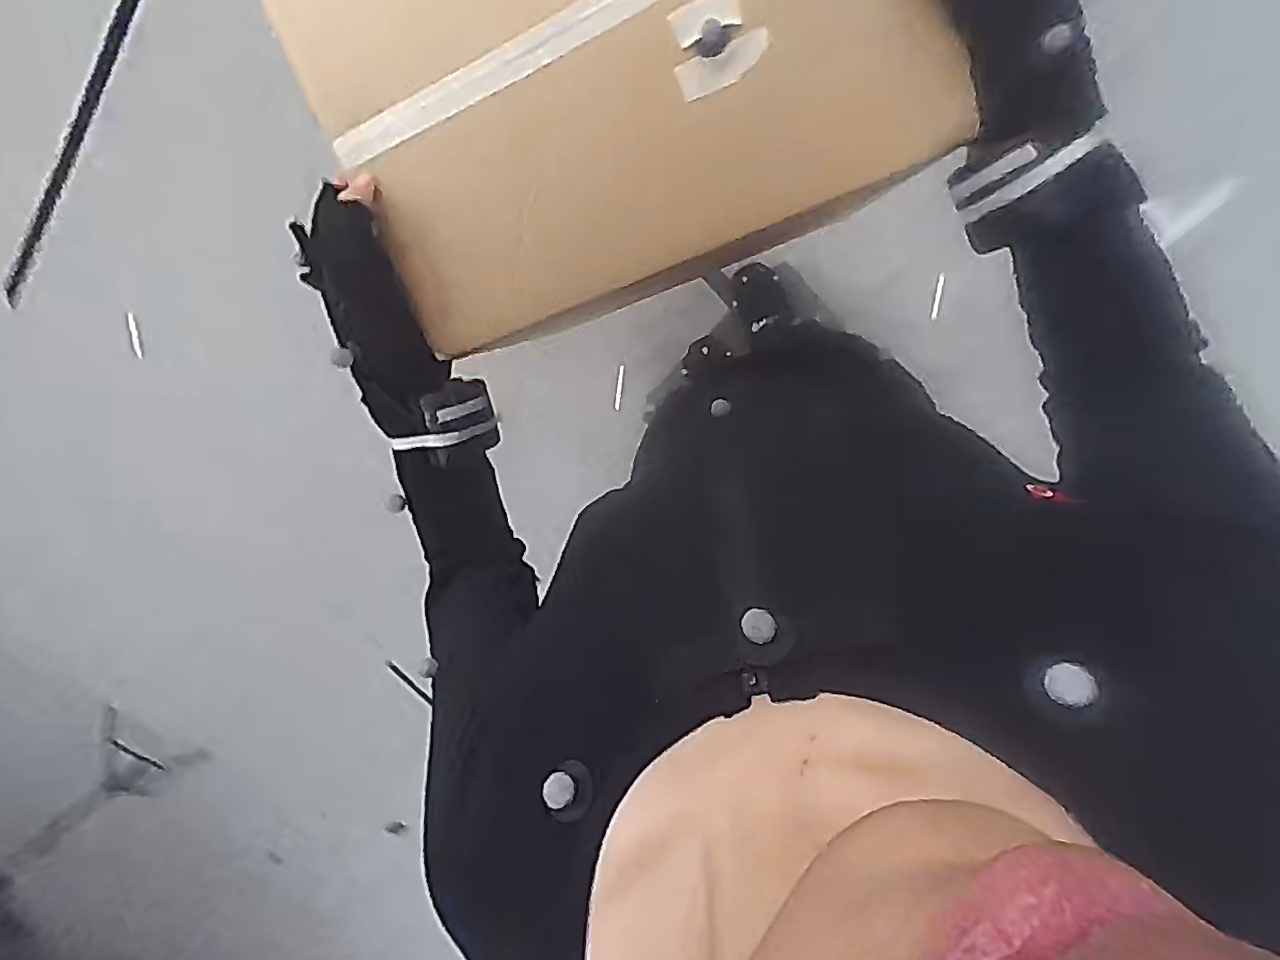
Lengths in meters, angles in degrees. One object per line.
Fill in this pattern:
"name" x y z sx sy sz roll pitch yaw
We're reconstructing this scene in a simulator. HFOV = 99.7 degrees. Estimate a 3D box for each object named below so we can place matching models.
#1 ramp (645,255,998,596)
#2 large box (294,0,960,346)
"ramp" 0.536 -0.089 1.529 0.991 0.206 0.509 42 108 -6
"large box" -0.007 -0.348 0.502 0.408 0.320 0.320 -18 105 13
